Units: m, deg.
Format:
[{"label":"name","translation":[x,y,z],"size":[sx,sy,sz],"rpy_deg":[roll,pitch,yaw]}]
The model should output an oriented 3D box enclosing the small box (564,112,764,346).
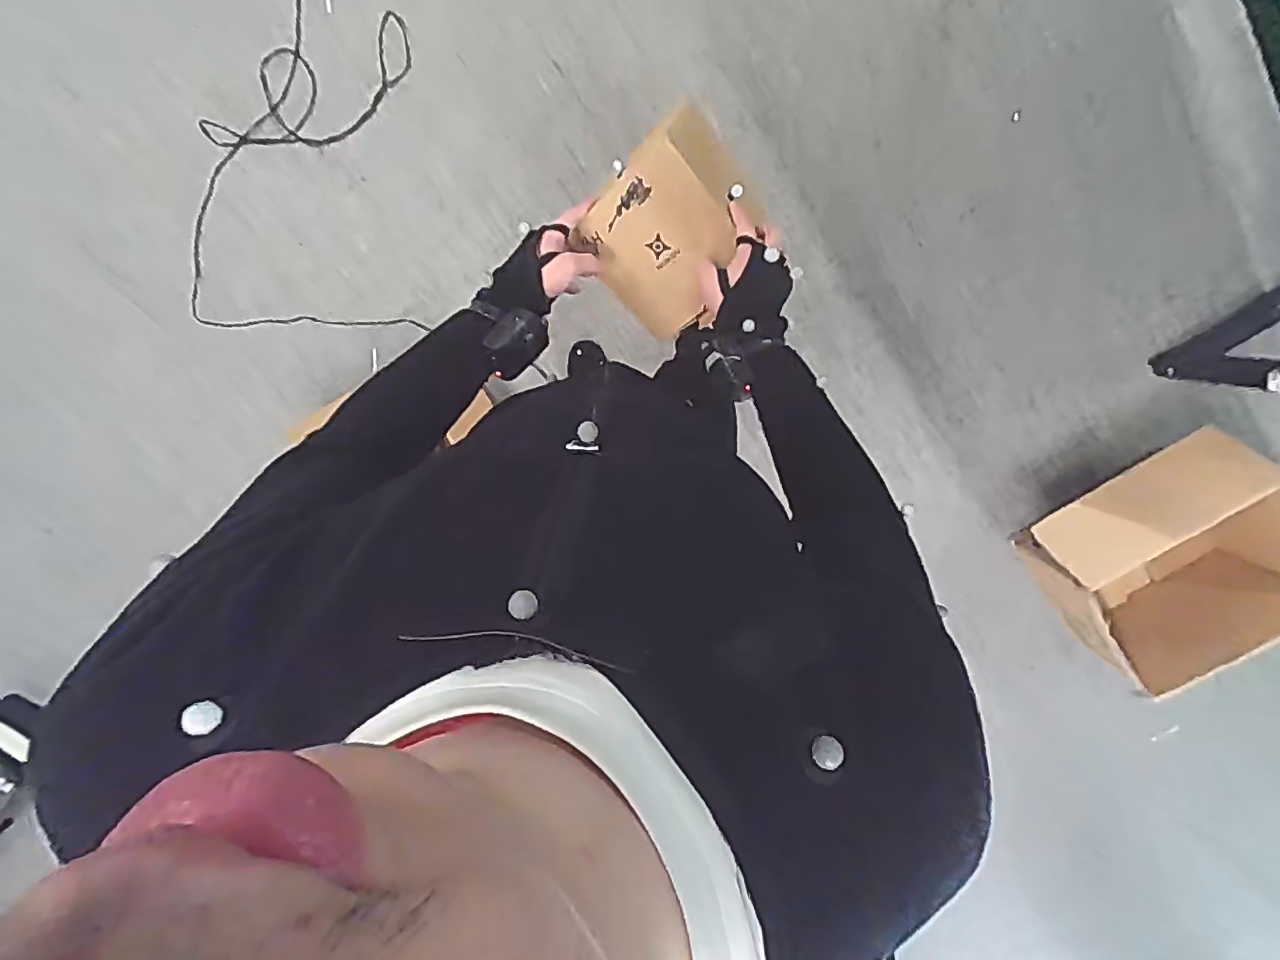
[{"label":"small box","translation":[0.041,-0.309,0.670],"size":[0.168,0.176,0.179],"rpy_deg":[-28,122,35]}]
